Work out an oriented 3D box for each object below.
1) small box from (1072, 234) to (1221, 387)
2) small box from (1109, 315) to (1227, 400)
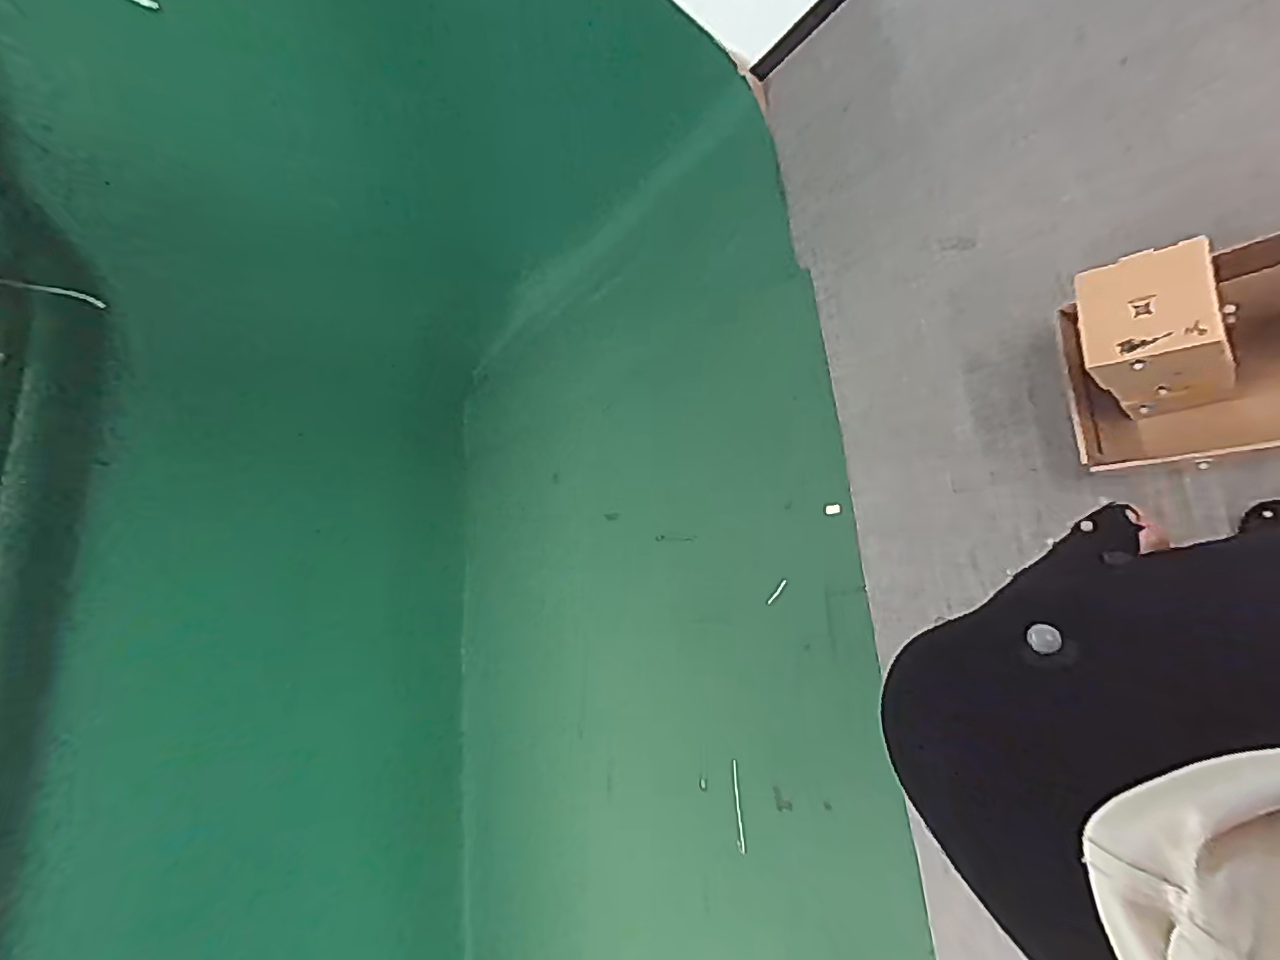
[{"bbox_3d":[0.866,-0.277,0.927,0.168,0.176,0.179,-9,76,48],"label":"small box"},{"bbox_3d":[0.989,-0.270,1.036,0.168,0.176,0.179,-14,74,47],"label":"small box"}]
